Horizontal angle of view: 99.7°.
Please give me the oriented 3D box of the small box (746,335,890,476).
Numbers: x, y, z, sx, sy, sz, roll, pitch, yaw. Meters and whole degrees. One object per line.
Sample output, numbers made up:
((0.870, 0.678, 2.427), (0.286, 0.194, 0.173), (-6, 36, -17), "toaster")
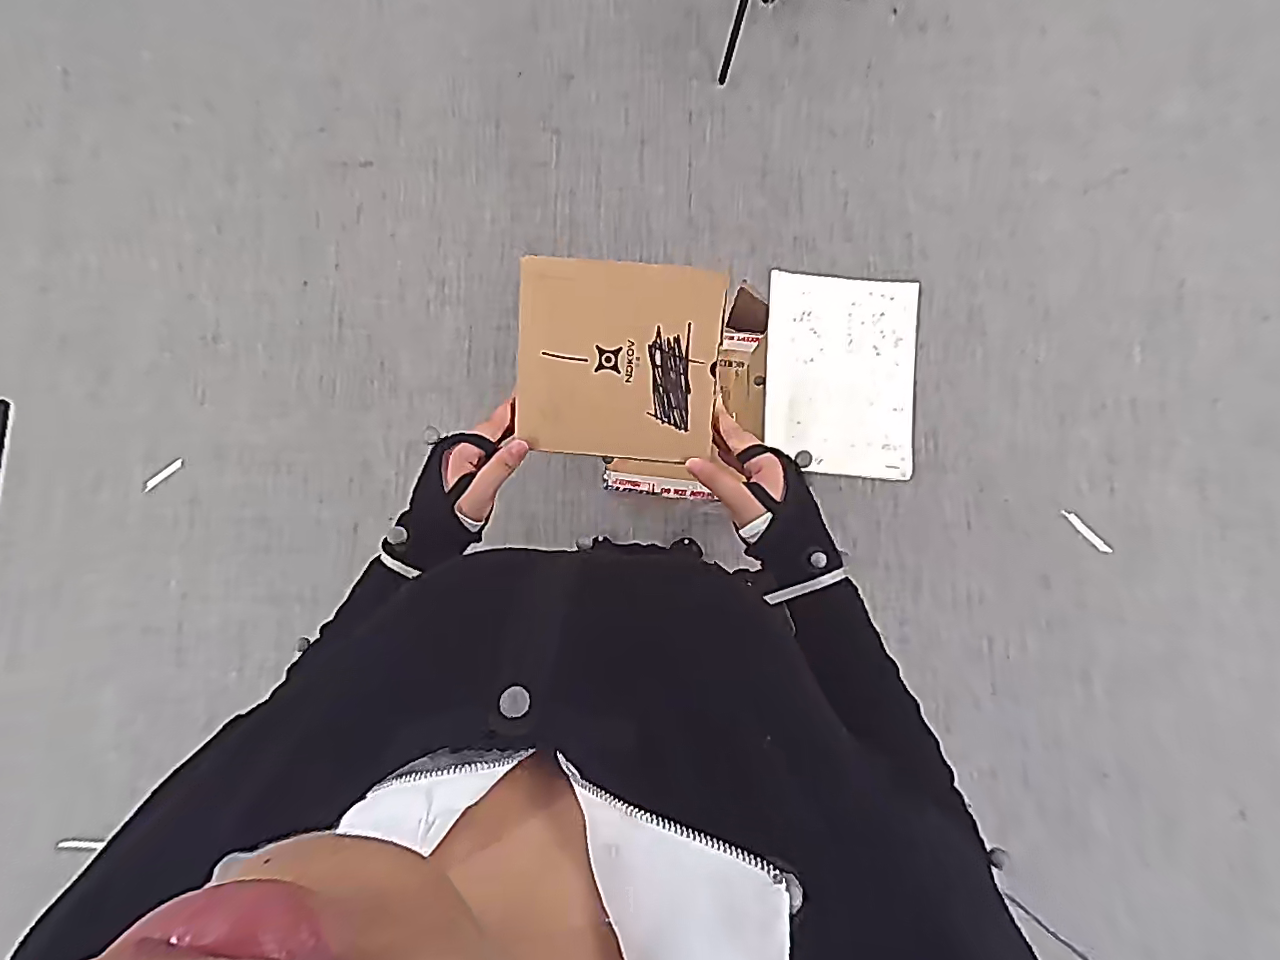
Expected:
((0.260, -0.104, 0.821), (0.168, 0.176, 0.179), (2, 84, -1), "small box")

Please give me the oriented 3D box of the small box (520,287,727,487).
((-0.015, -0.094, 0.562), (0.179, 0.176, 0.168), (5, 99, 1), "small box")

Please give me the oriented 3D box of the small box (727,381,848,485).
((0.260, -0.080, 0.983), (0.179, 0.176, 0.168), (-1, 84, 0), "small box")
